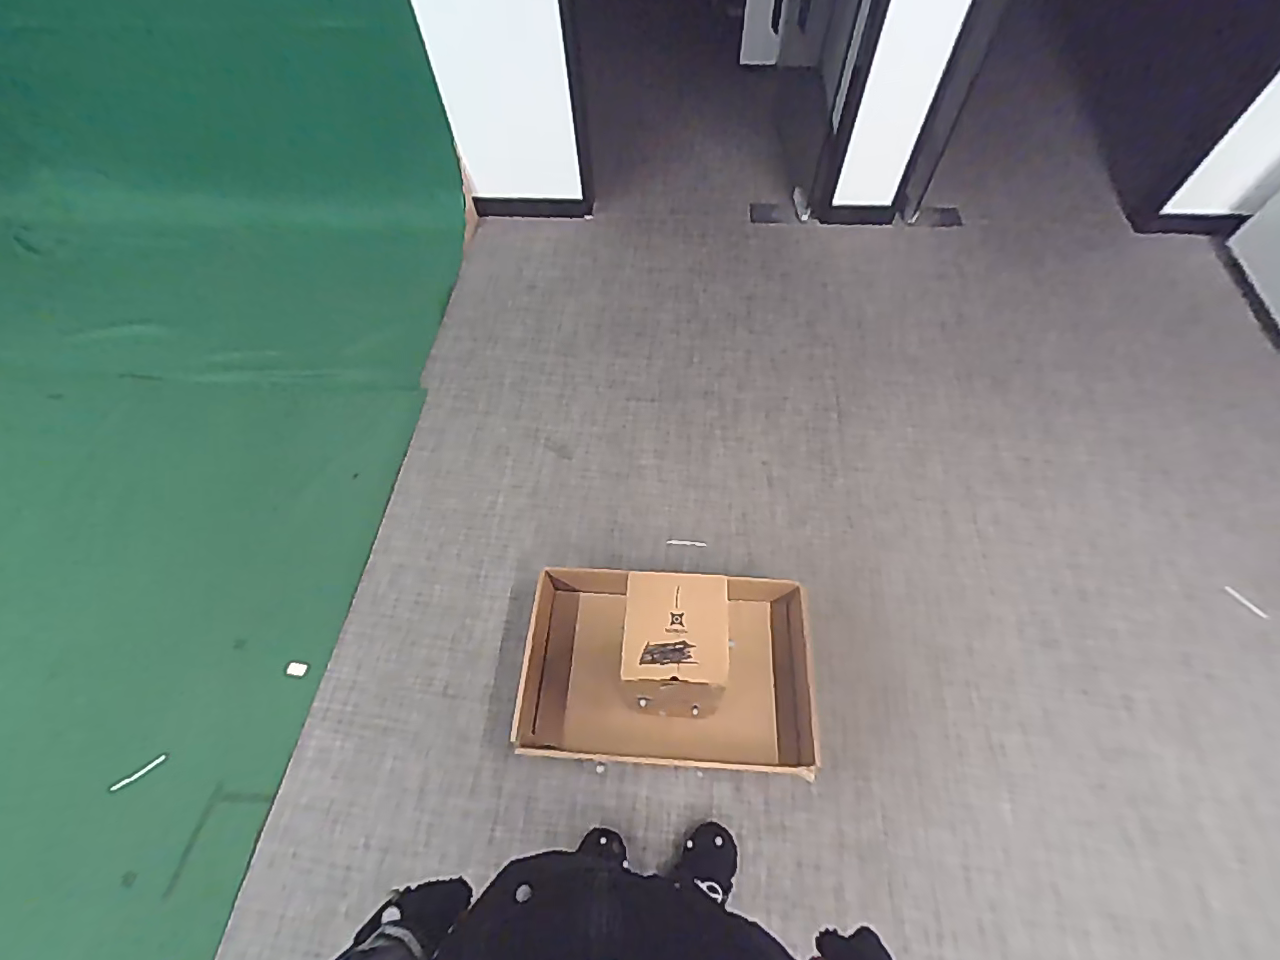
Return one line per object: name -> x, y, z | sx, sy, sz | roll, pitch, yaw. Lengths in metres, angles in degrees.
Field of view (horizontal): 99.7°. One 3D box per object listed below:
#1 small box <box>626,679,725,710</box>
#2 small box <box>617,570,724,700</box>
small box -> 0.064, 0.348, 1.053 | 0.179, 0.176, 0.168 | -1, 59, 2
small box -> 0.056, 0.270, 0.926 | 0.168, 0.176, 0.179 | 2, 58, 3
